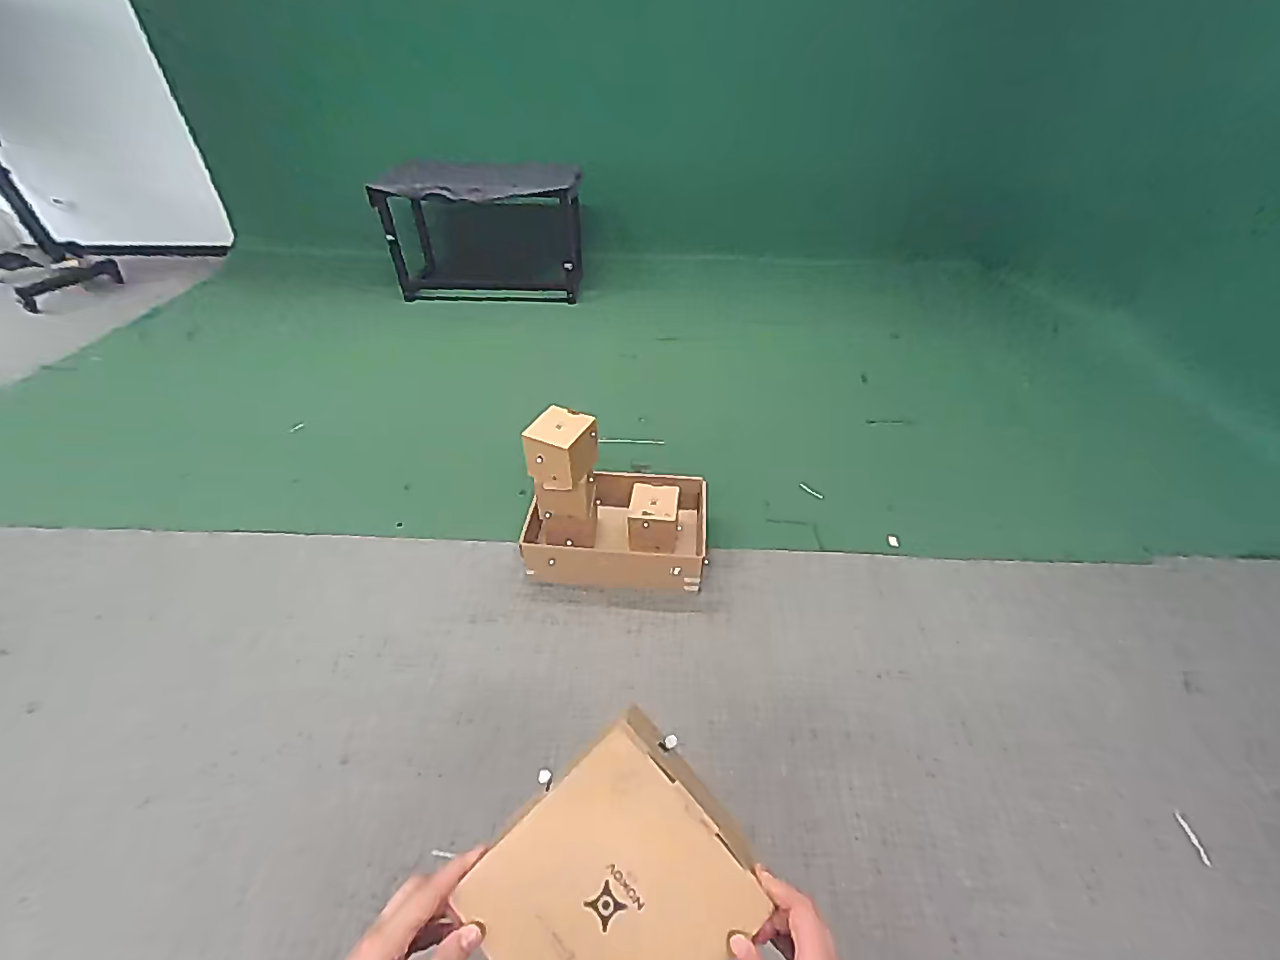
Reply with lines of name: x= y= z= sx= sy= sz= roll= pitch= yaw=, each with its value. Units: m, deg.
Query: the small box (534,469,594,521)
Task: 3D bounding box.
small box: x=-0.248 y=0.021 z=1.812 sx=0.168 sy=0.176 sz=0.179 roll=3 pitch=40 yaw=2

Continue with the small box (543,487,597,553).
small box: x=-0.243 y=0.139 z=1.928 sx=0.168 sy=0.176 sz=0.179 roll=2 pitch=41 yaw=2

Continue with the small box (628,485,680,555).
small box: x=0.050 y=0.141 z=1.929 sx=0.168 sy=0.176 sz=0.179 roll=5 pitch=41 yaw=7

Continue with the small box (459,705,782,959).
small box: x=-0.013 y=0.318 z=0.460 sx=0.179 sy=0.176 sz=0.168 roll=-42 pitch=76 yaw=-10

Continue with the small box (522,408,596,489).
small box: x=-0.244 y=-0.097 z=1.701 sx=0.168 sy=0.176 sz=0.179 roll=18 pitch=43 yaw=19
